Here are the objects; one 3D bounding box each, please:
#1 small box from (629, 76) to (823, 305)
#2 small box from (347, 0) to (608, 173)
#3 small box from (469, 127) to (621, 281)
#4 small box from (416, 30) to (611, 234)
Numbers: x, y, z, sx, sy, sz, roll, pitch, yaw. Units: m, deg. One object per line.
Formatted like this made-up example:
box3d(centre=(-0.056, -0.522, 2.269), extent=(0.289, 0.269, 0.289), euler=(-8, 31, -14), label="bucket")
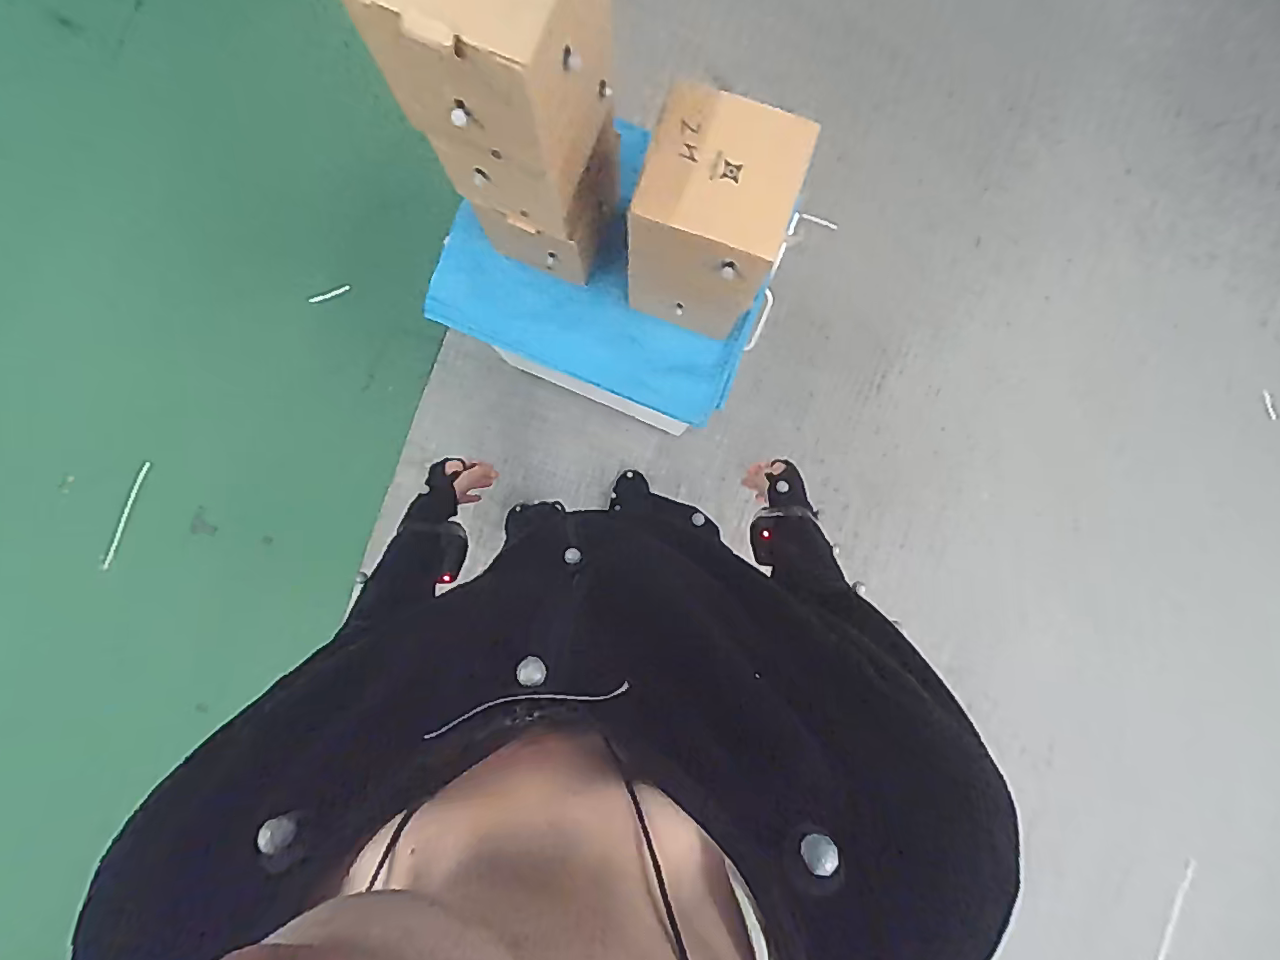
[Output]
box3d(centre=(0.094, -0.339, 0.672), extent=(0.179, 0.176, 0.168), euler=(19, 88, 0), label="small box")
box3d(centre=(-0.133, -0.436, 0.509), extent=(0.168, 0.176, 0.179), euler=(24, 88, -2), label="small box")
box3d(centre=(-0.134, -0.438, 0.835), extent=(0.168, 0.176, 0.179), euler=(23, 88, -2), label="small box")
box3d(centre=(-0.140, -0.445, 0.673), extent=(0.168, 0.176, 0.179), euler=(24, 87, -2), label="small box")
